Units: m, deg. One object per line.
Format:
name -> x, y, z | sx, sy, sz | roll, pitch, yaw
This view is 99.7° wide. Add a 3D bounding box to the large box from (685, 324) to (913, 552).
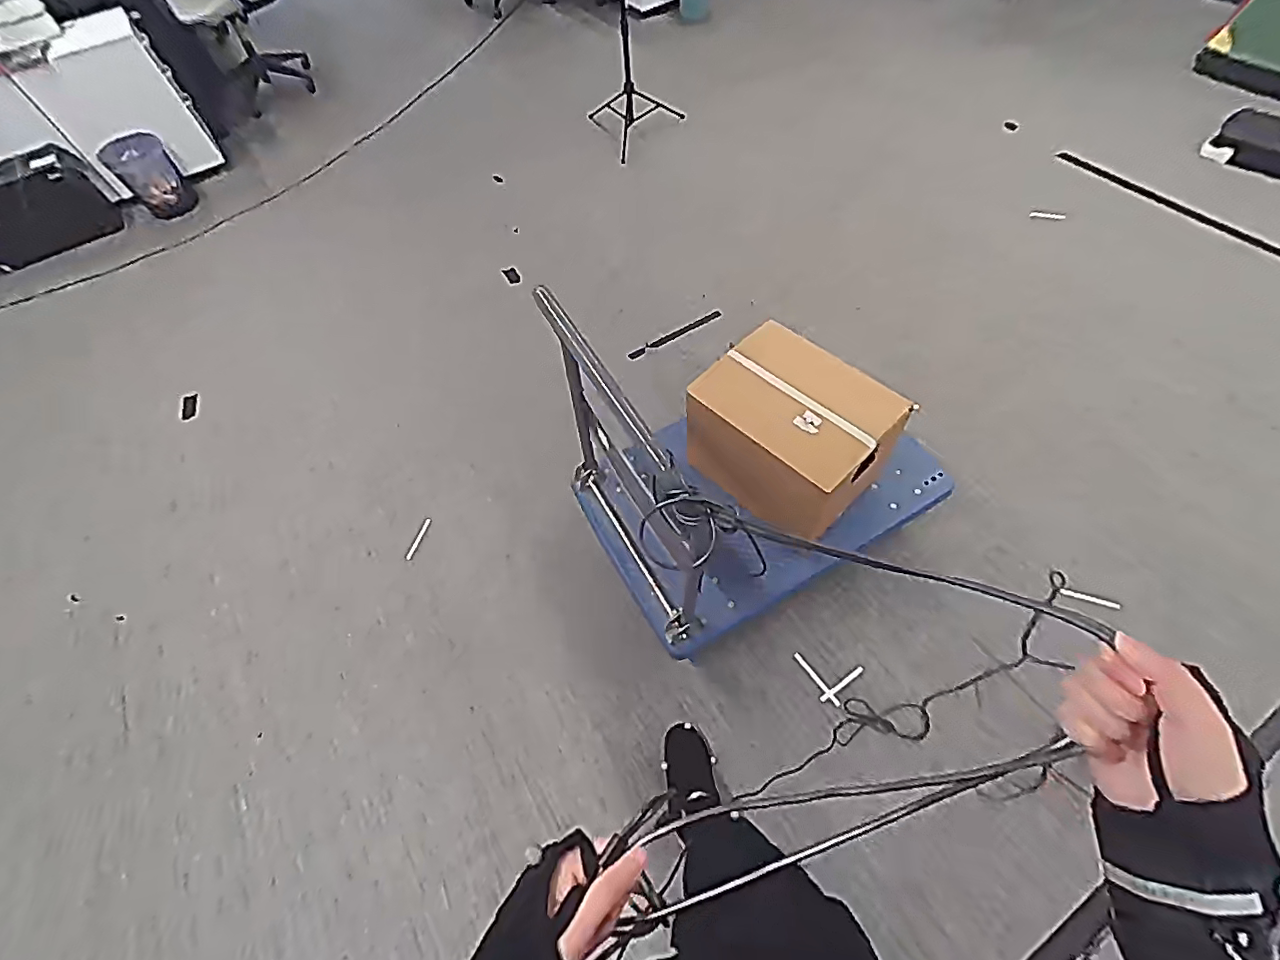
large box -> 0.357, -0.101, 1.331 | 0.320, 0.320, 0.408 | -41, 65, -17
